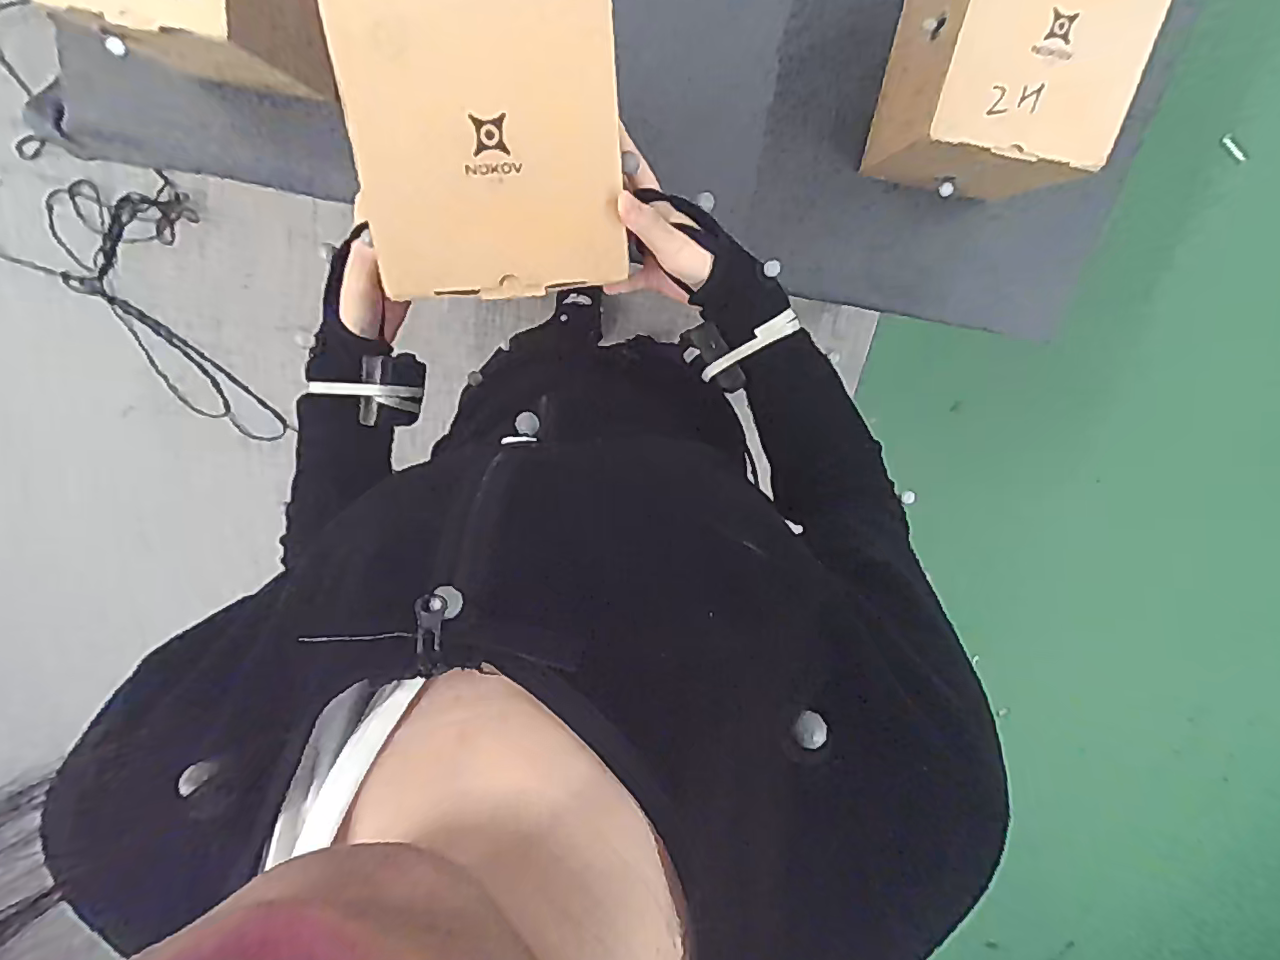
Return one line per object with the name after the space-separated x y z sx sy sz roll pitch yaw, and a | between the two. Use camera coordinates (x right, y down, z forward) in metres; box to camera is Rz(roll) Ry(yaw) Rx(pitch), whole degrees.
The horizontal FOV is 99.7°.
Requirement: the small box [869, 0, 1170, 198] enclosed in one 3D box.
0.350 -0.397 0.530 0.168 0.176 0.179 9 110 -1 | small box

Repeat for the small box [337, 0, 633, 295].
-0.103 -0.244 0.419 0.168 0.176 0.179 -7 114 -7 | small box
